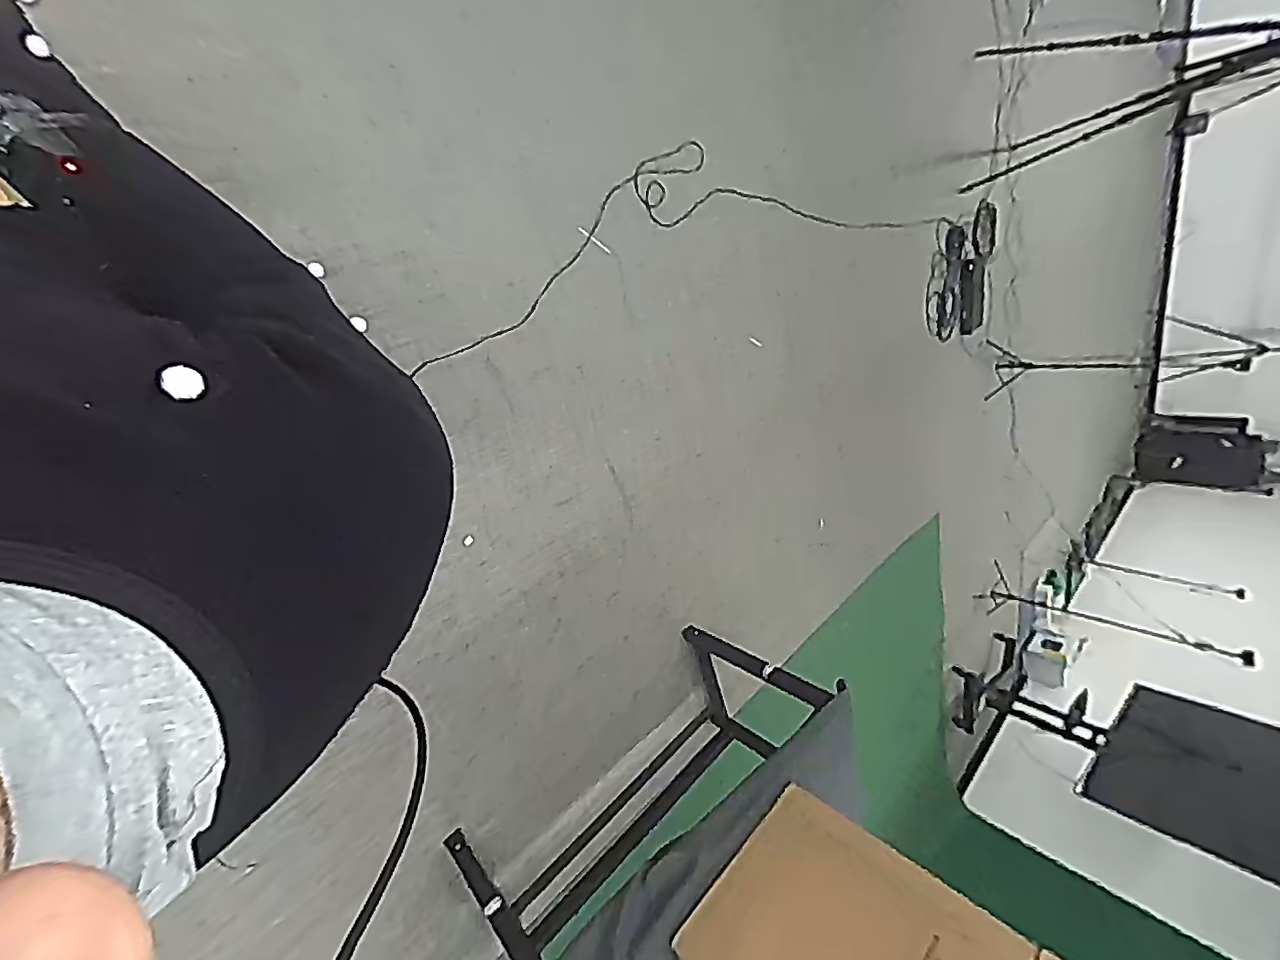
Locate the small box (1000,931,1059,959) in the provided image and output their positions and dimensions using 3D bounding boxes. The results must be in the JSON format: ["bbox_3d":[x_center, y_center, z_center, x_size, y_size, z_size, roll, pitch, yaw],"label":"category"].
[{"bbox_3d":[0.840,1.110,1.126,0.179,0.176,0.168,-35,119,-34],"label":"small box"}]
